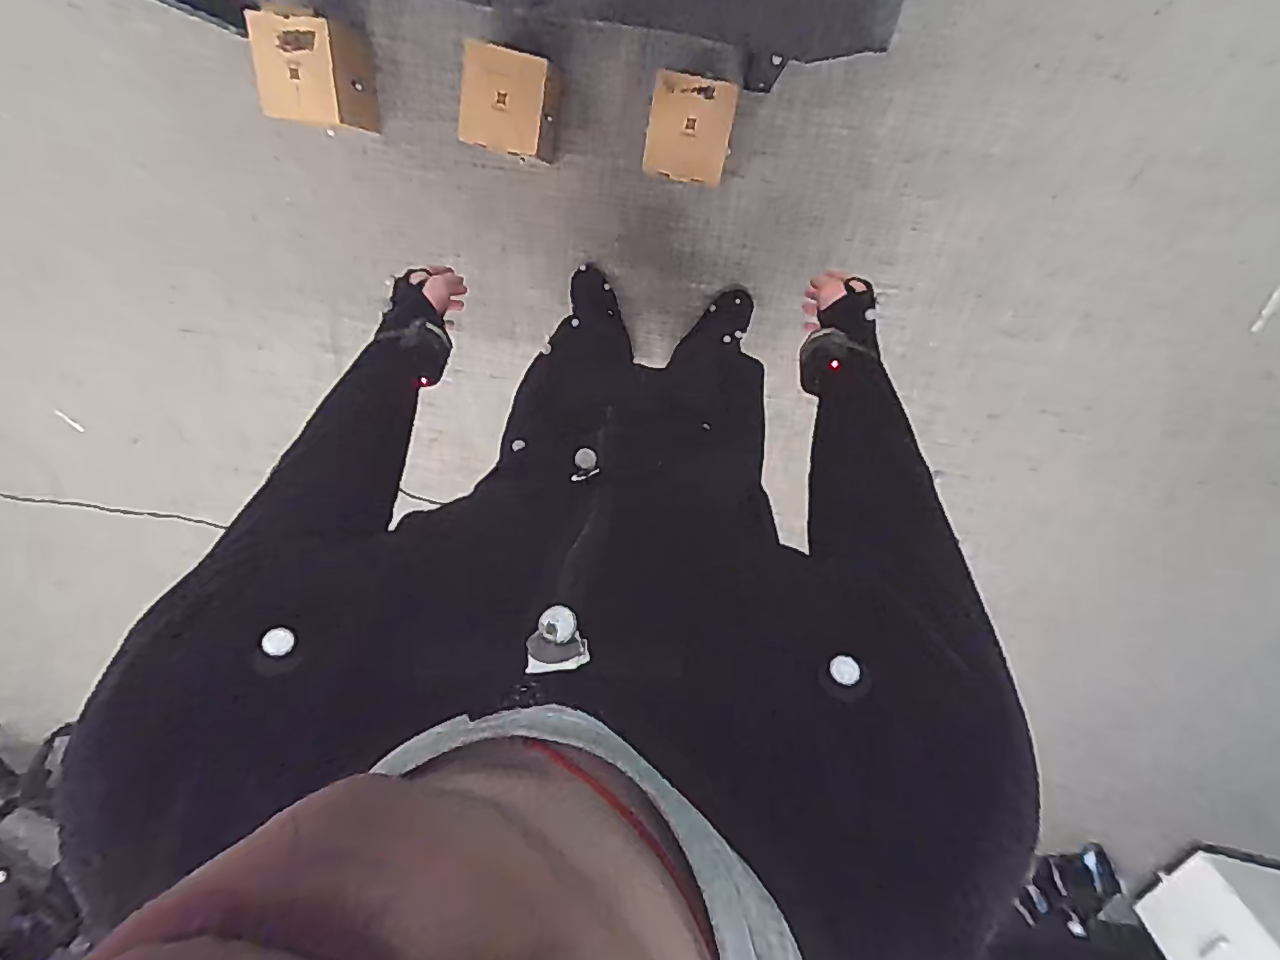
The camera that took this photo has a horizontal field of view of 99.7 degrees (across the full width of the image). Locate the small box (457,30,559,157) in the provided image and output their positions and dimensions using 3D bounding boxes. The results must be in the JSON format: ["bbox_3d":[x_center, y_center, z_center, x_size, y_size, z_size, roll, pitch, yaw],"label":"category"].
[{"bbox_3d":[-0.274,-0.801,1.140,0.168,0.176,0.179,12,116,-3],"label":"small box"}]

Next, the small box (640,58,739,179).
[{"bbox_3d":[0.102,-0.746,1.137,0.168,0.176,0.179,11,116,-1],"label":"small box"}]

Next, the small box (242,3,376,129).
[{"bbox_3d":[-0.683,-0.861,1.140,0.168,0.176,0.179,7,118,1],"label":"small box"}]
